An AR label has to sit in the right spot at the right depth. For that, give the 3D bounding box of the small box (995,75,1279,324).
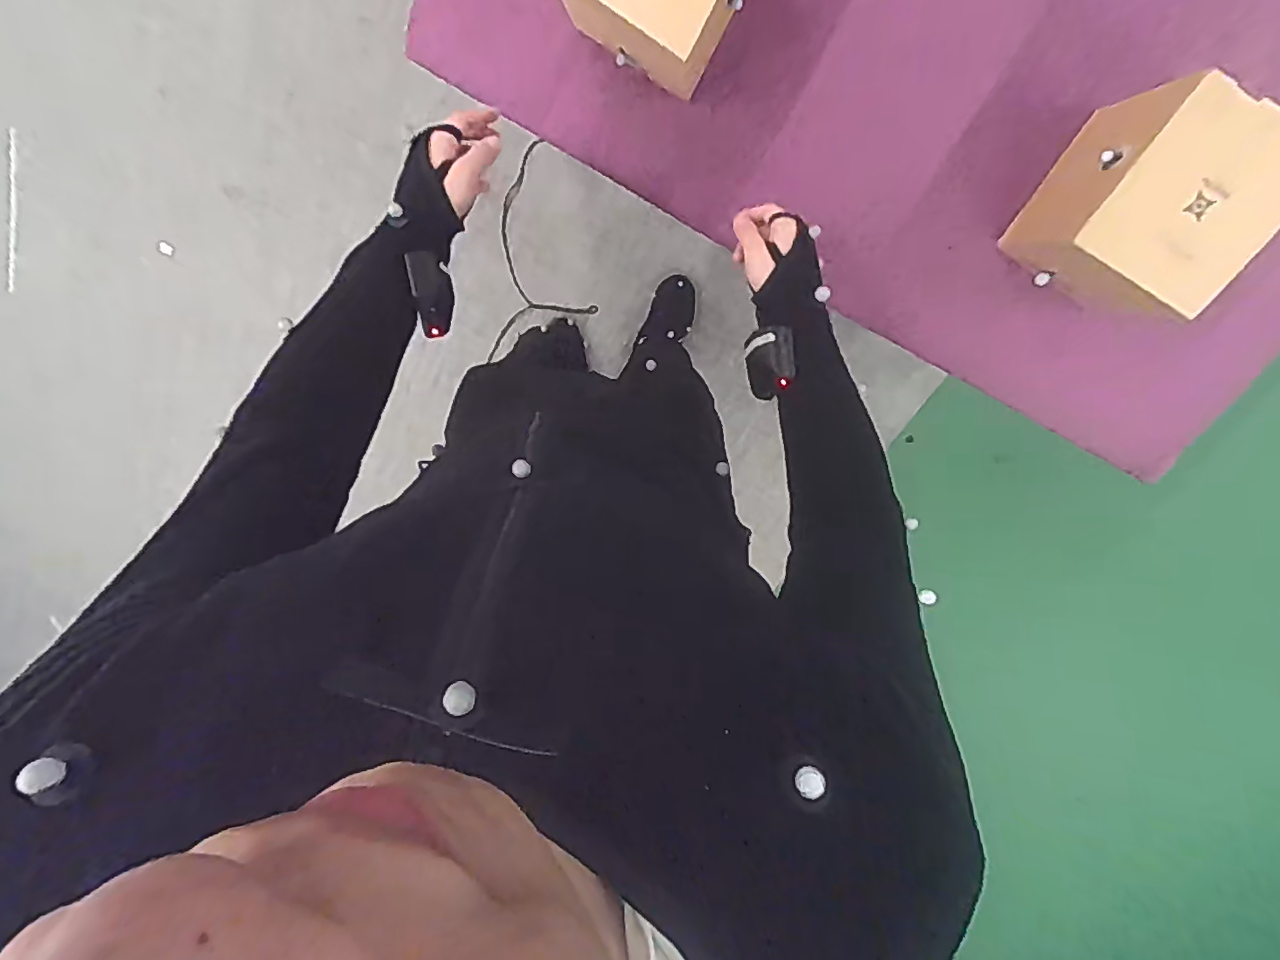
[{"bbox_3d":[0.565,-0.306,0.622,0.168,0.176,0.179,30,112,-6],"label":"small box"}]
